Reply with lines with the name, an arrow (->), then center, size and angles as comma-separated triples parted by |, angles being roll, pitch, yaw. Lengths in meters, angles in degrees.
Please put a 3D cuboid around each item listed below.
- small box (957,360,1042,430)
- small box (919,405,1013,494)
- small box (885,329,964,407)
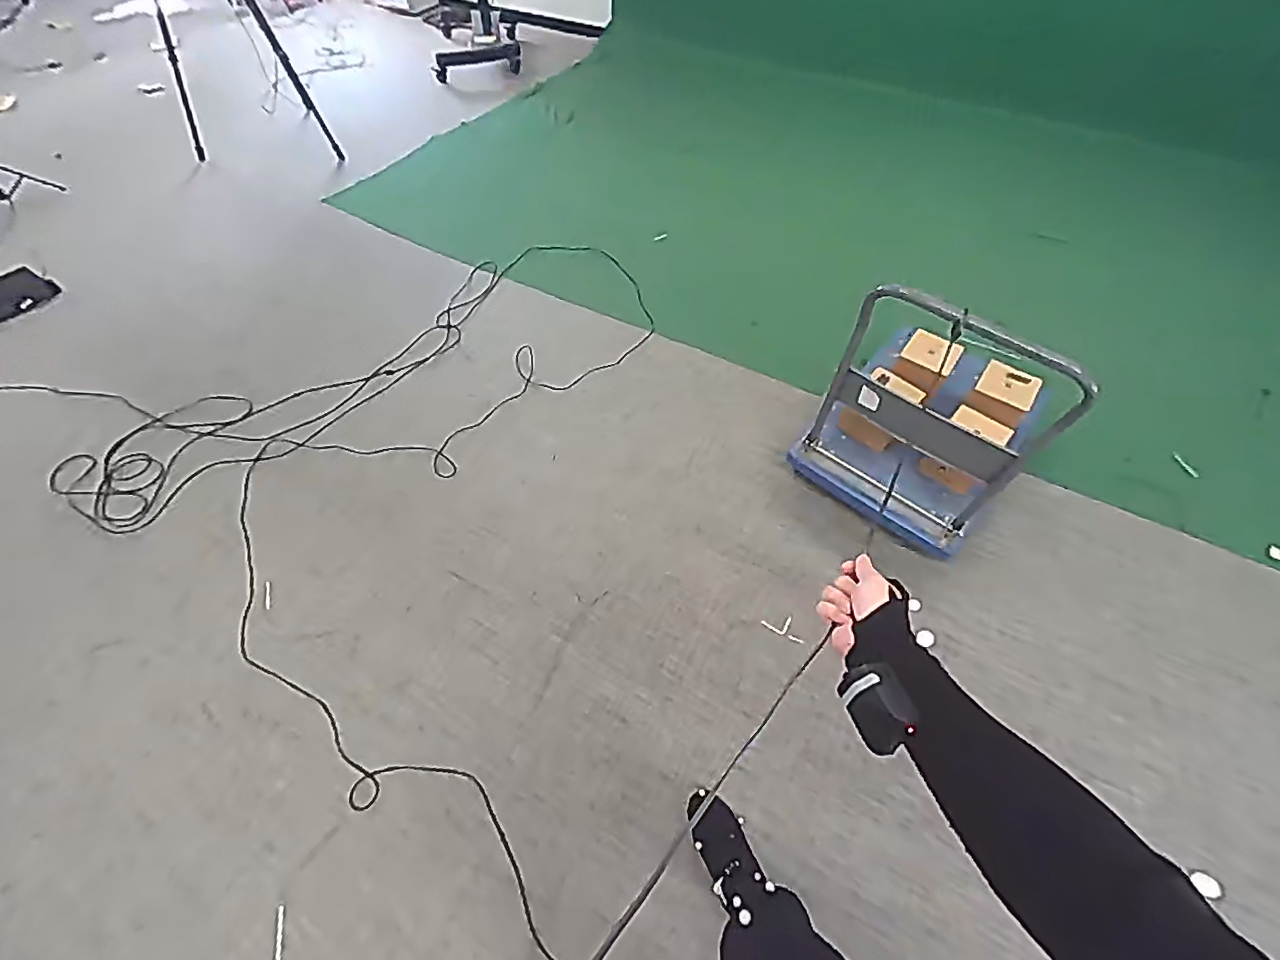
small box -> 1.182, -0.259, 1.796 | 0.168, 0.176, 0.179 | 32, 62, 21
small box -> 1.004, -0.092, 1.680 | 0.168, 0.176, 0.179 | 37, 63, 22
small box -> 0.983, -0.385, 1.883 | 0.168, 0.176, 0.179 | 33, 61, 20
